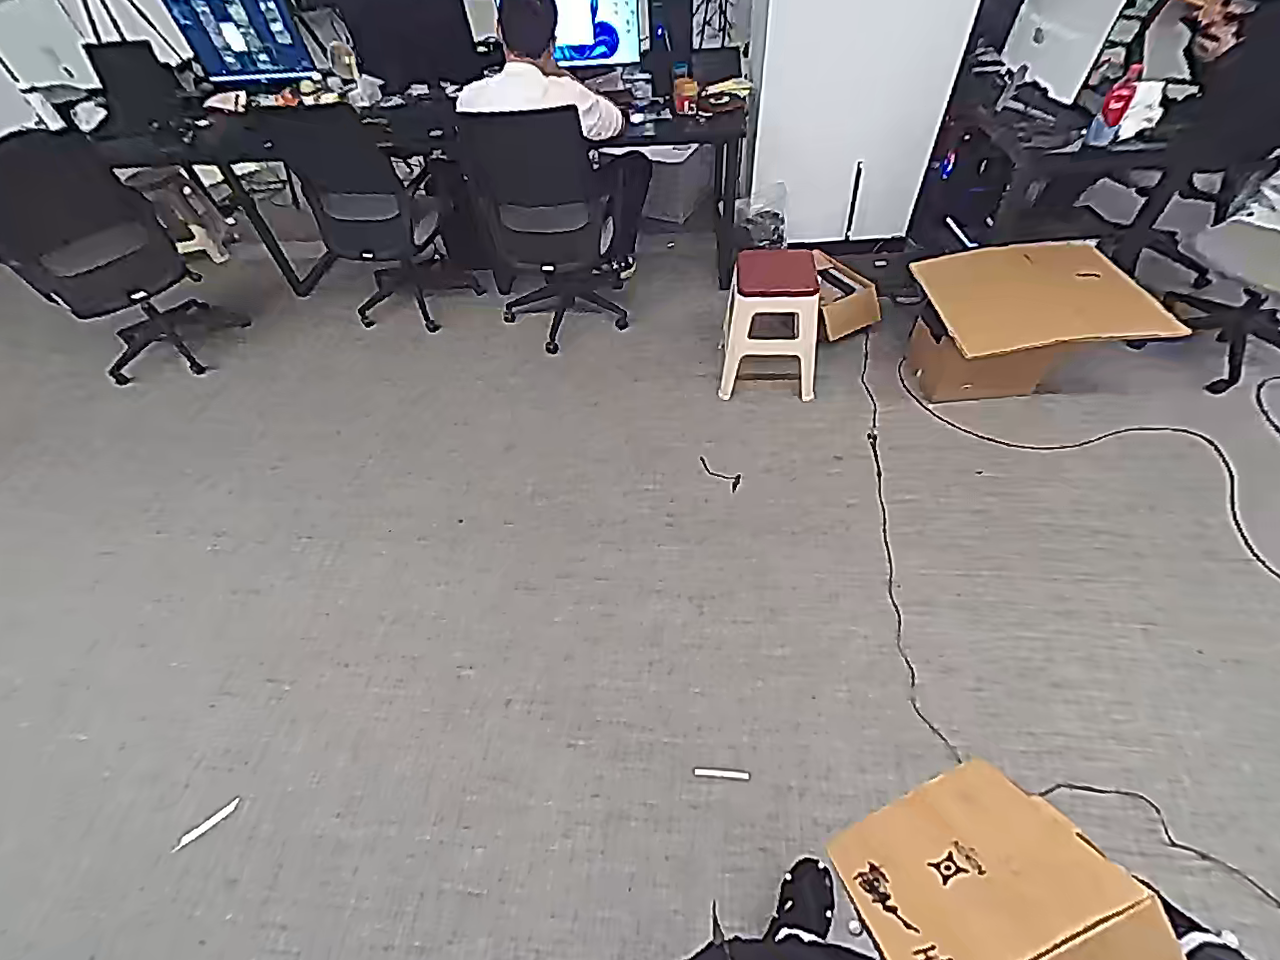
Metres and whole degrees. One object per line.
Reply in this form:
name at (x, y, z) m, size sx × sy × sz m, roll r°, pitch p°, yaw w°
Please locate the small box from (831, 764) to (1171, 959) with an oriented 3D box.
small box at (0.298, 0.388, 0.447) m, size 0.179 × 0.168 × 0.176 m, roll -26°, pitch 92°, yaw -2°
